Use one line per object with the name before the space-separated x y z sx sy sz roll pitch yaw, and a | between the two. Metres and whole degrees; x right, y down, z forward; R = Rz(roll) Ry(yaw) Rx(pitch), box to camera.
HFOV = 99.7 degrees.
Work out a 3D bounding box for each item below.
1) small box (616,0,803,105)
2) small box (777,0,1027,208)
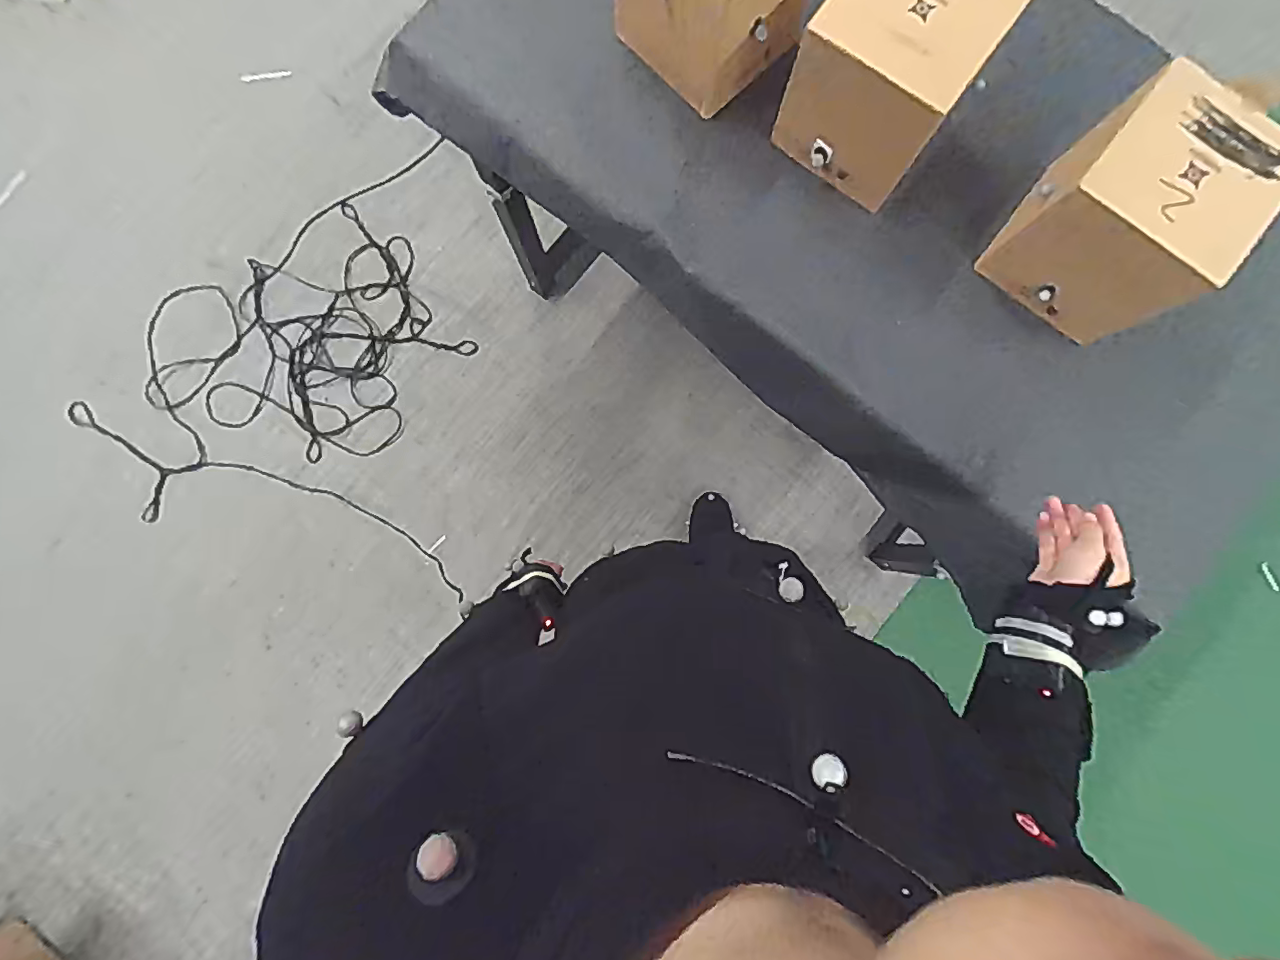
small box | 0.086 -0.587 0.628 0.168 0.176 0.179 -44 86 -5
small box | 0.280 -0.462 0.617 0.168 0.176 0.179 35 85 4
